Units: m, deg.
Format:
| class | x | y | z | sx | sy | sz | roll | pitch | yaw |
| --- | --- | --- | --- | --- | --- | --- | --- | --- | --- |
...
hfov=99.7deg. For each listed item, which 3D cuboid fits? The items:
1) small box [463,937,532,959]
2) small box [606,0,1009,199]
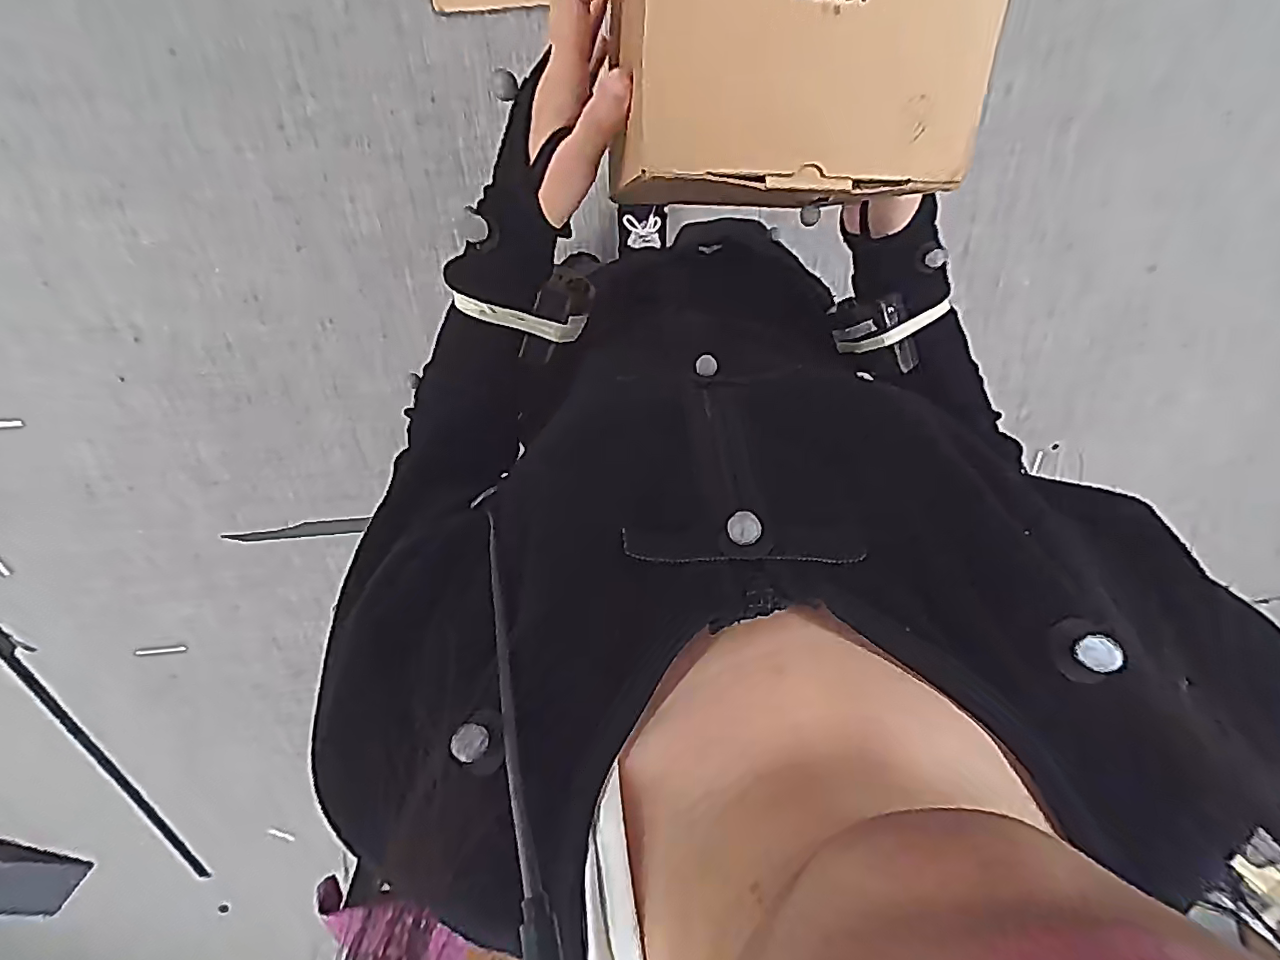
| class | x | y | z | sx | sy | sz | roll | pitch | yaw |
| --- | --- | --- | --- | --- | --- | --- | --- | --- | --- |
| small box | -0.364 | 1.298 | 1.367 | 0.168 | 0.176 | 0.179 | -1 | 119 | -7 |
| small box | 0.072 | -0.258 | 0.296 | 0.168 | 0.176 | 0.179 | -3 | 113 | -9 |
